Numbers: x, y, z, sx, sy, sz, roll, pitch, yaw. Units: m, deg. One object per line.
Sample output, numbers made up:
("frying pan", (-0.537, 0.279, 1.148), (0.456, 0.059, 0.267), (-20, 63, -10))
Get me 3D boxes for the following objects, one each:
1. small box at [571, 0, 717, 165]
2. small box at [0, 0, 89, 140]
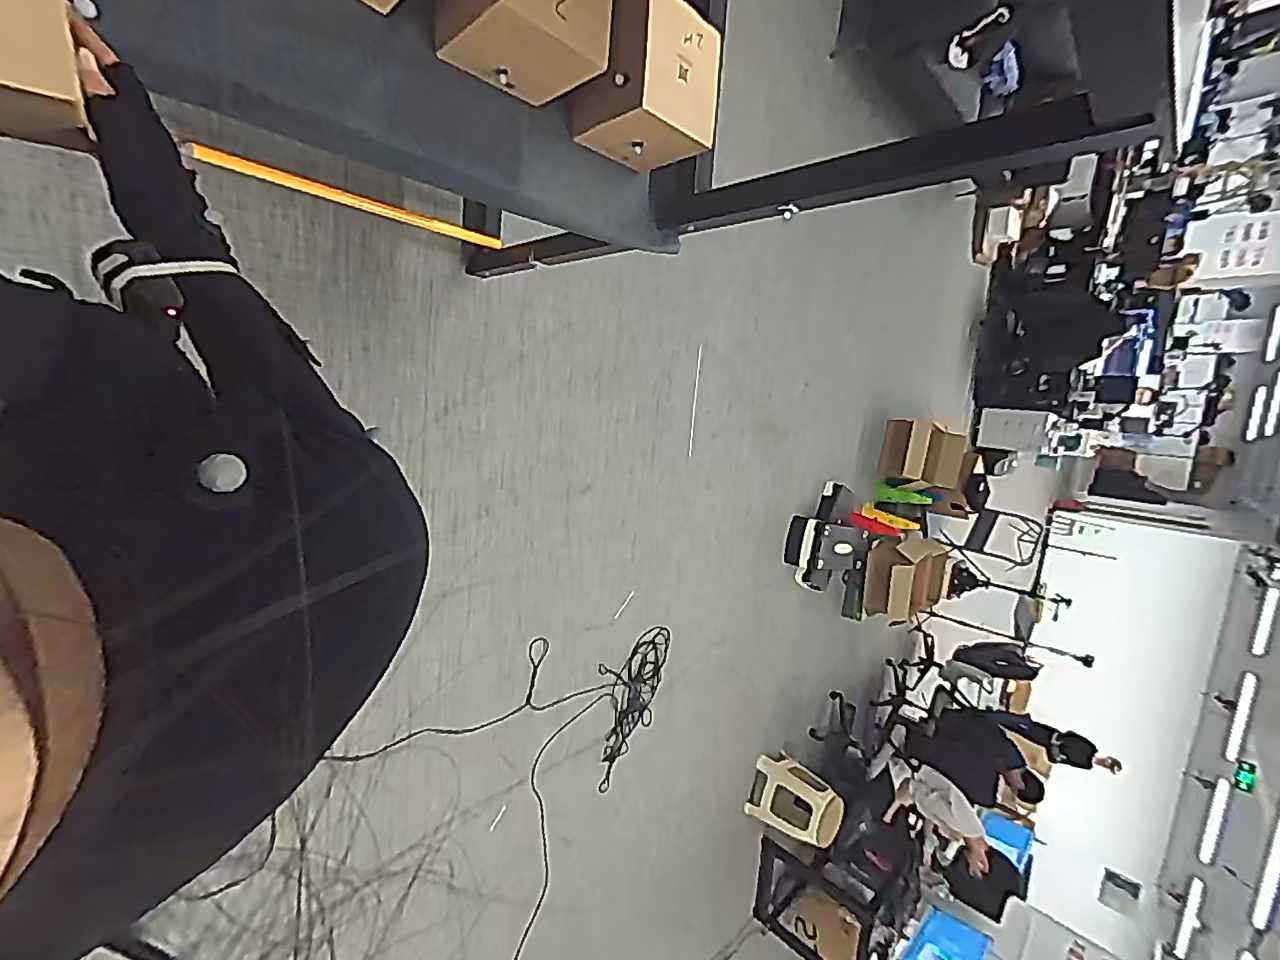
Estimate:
("small box", (0.003, -0.643, 0.880), (0.168, 0.176, 0.179), (-5, 103, -46))
("small box", (-0.459, -0.334, 0.322), (0.168, 0.176, 0.179), (-10, 112, -42))
